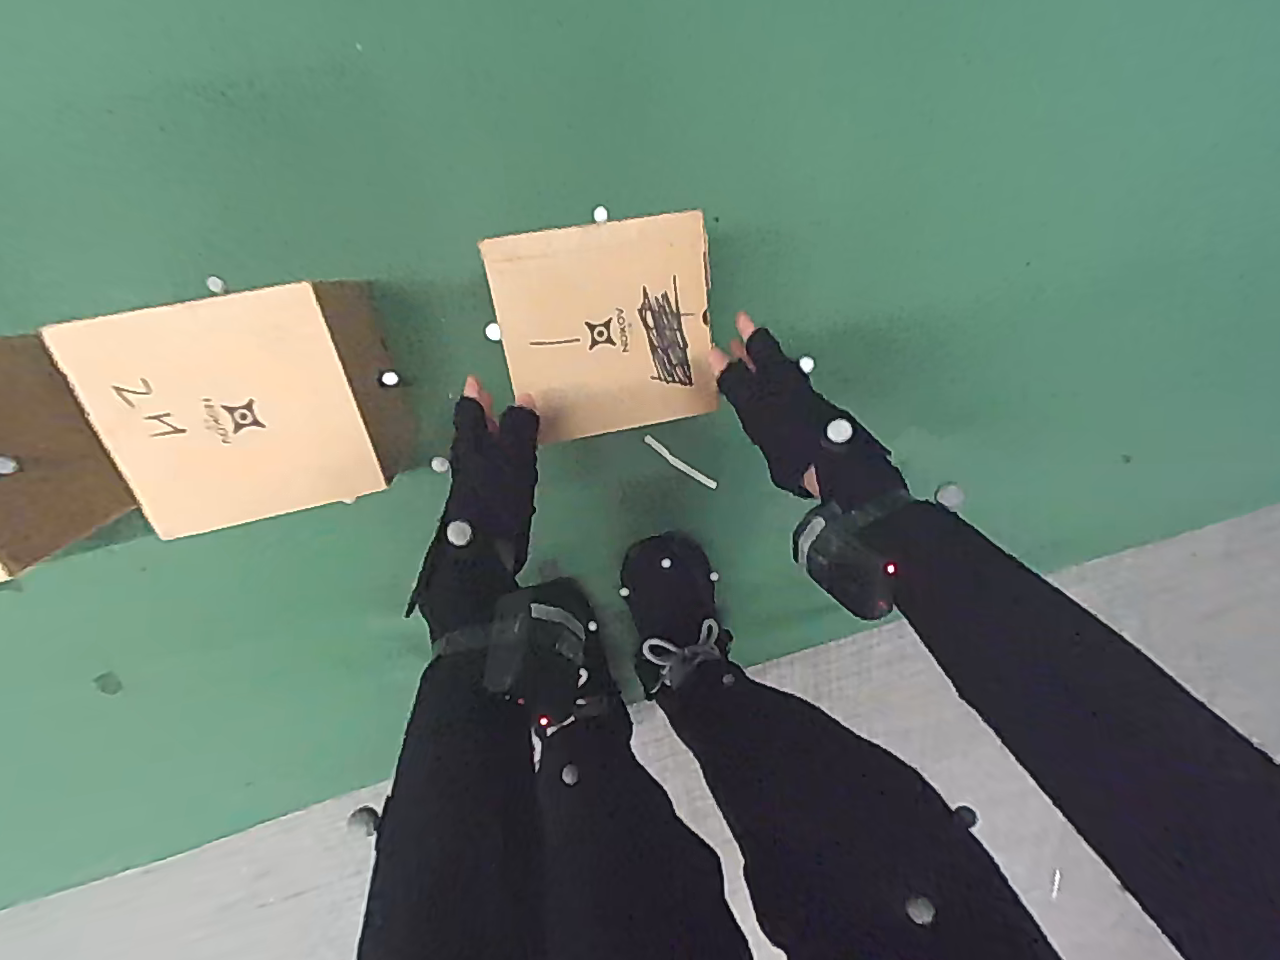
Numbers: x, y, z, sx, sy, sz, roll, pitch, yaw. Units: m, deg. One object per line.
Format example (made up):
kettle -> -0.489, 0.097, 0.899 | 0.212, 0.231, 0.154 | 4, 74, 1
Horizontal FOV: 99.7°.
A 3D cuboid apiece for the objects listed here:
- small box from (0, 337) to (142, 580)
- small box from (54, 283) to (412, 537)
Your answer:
small box -> -0.581, -0.013, 0.440 | 0.168, 0.176, 0.179 | -15, 114, -7
small box -> -0.315, -0.075, 0.475 | 0.179, 0.176, 0.168 | -13, 112, -8
